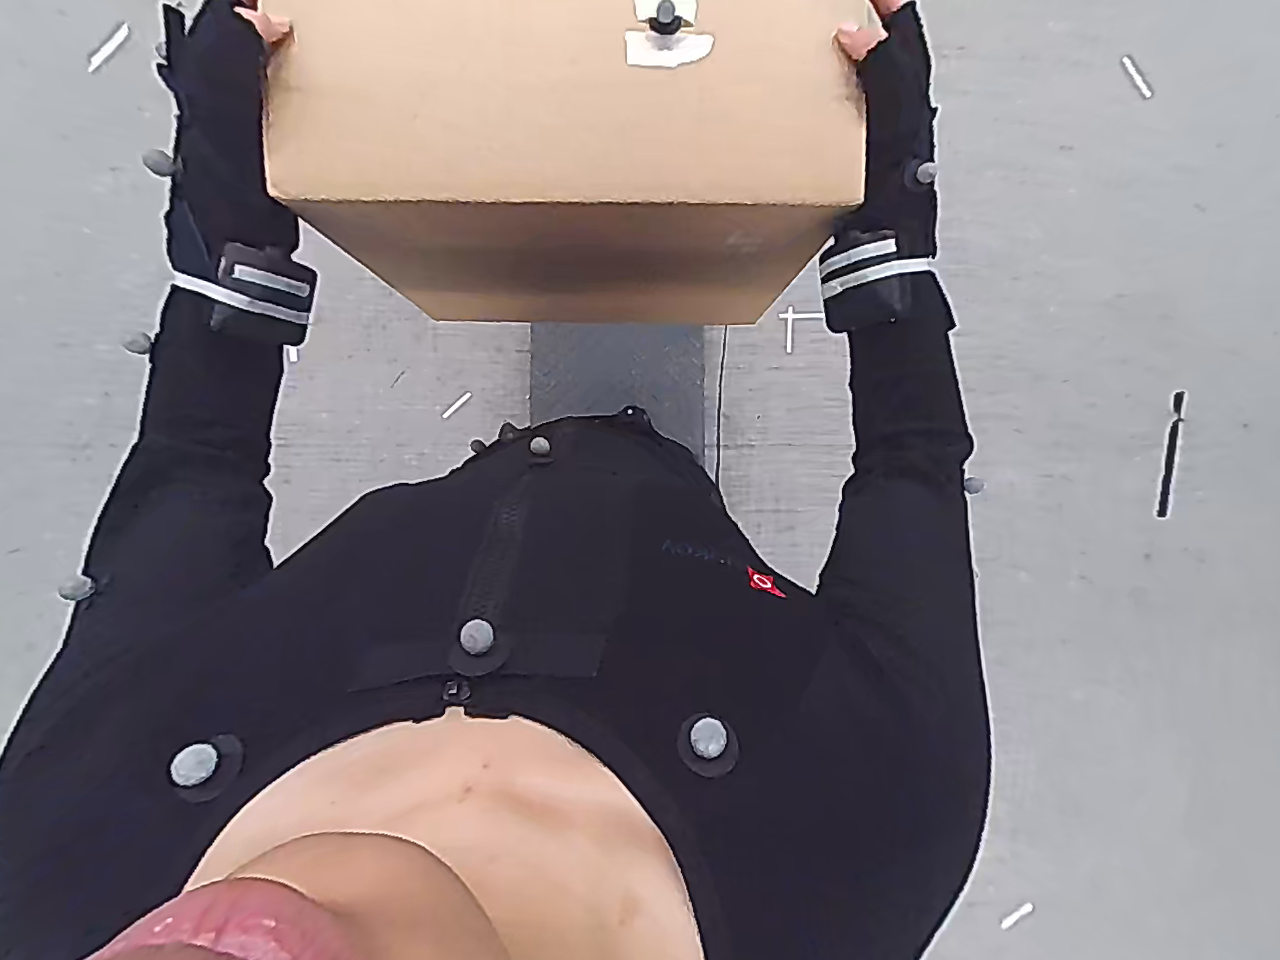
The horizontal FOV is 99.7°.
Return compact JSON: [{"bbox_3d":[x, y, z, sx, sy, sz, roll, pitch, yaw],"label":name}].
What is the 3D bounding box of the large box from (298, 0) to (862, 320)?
[{"bbox_3d":[-0.045,-0.355,0.531,0.408,0.320,0.320,0,91,-2],"label":"large box"}]
